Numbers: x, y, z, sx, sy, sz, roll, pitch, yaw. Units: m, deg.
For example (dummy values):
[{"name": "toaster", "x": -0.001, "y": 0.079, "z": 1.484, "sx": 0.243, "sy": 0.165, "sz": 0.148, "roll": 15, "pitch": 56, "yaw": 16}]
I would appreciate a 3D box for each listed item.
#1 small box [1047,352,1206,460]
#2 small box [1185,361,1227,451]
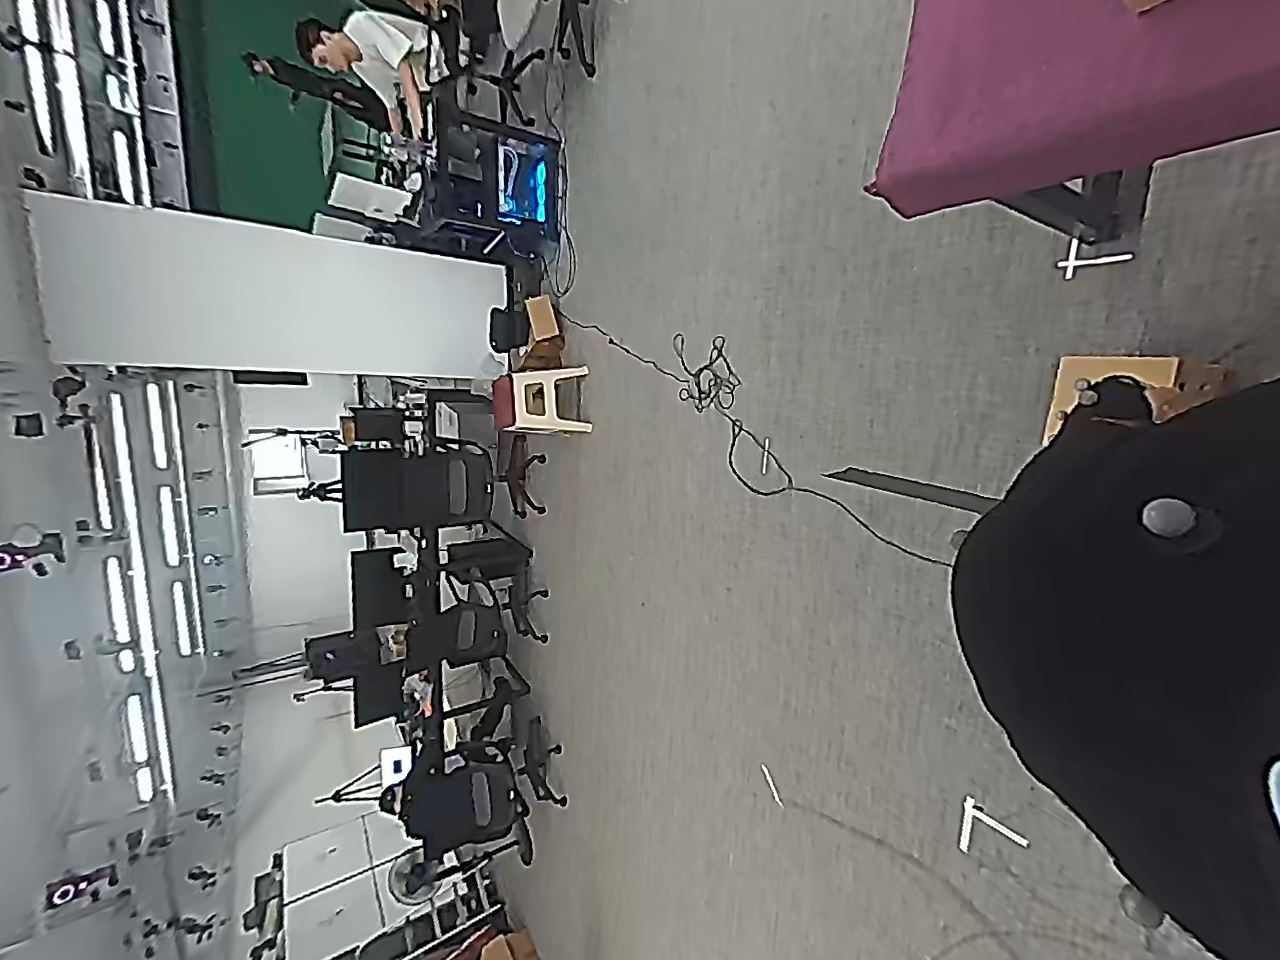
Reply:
[{"name": "small box", "x": 0.896, "y": -0.140, "z": 0.996, "sx": 0.168, "sy": 0.176, "sz": 0.179, "roll": 21, "pitch": 112, "yaw": 54}, {"name": "small box", "x": 1.029, "y": -0.157, "z": 1.092, "sx": 0.168, "sy": 0.176, "sz": 0.179, "roll": 28, "pitch": 117, "yaw": 52}]
